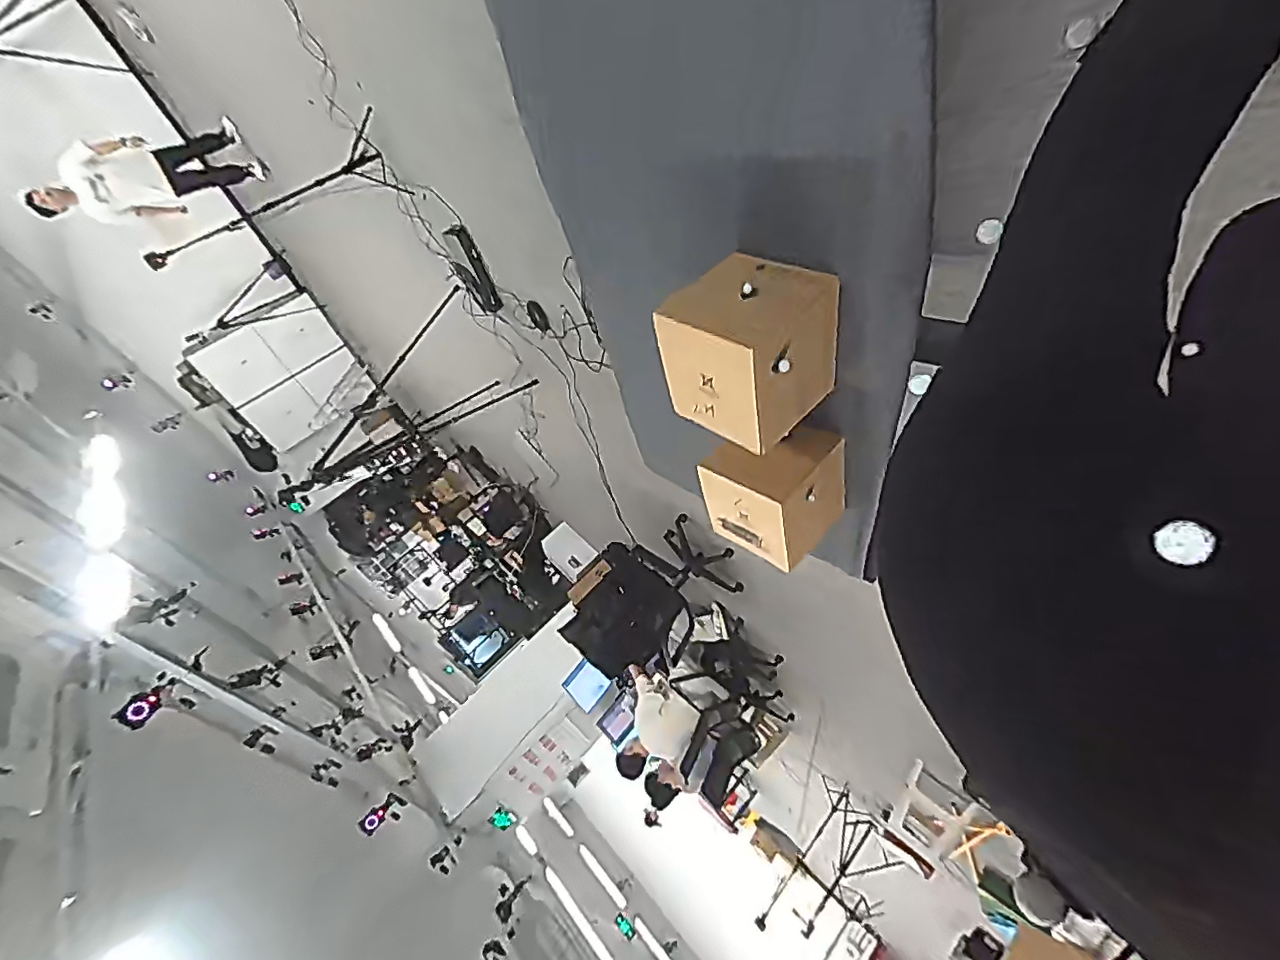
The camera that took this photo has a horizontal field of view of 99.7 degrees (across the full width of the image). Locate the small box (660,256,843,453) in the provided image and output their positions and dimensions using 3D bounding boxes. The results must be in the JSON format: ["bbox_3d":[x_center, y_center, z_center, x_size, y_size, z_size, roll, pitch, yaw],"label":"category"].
[{"bbox_3d":[0.155,-0.176,0.732,0.168,0.176,0.179,34,156,37],"label":"small box"}]
